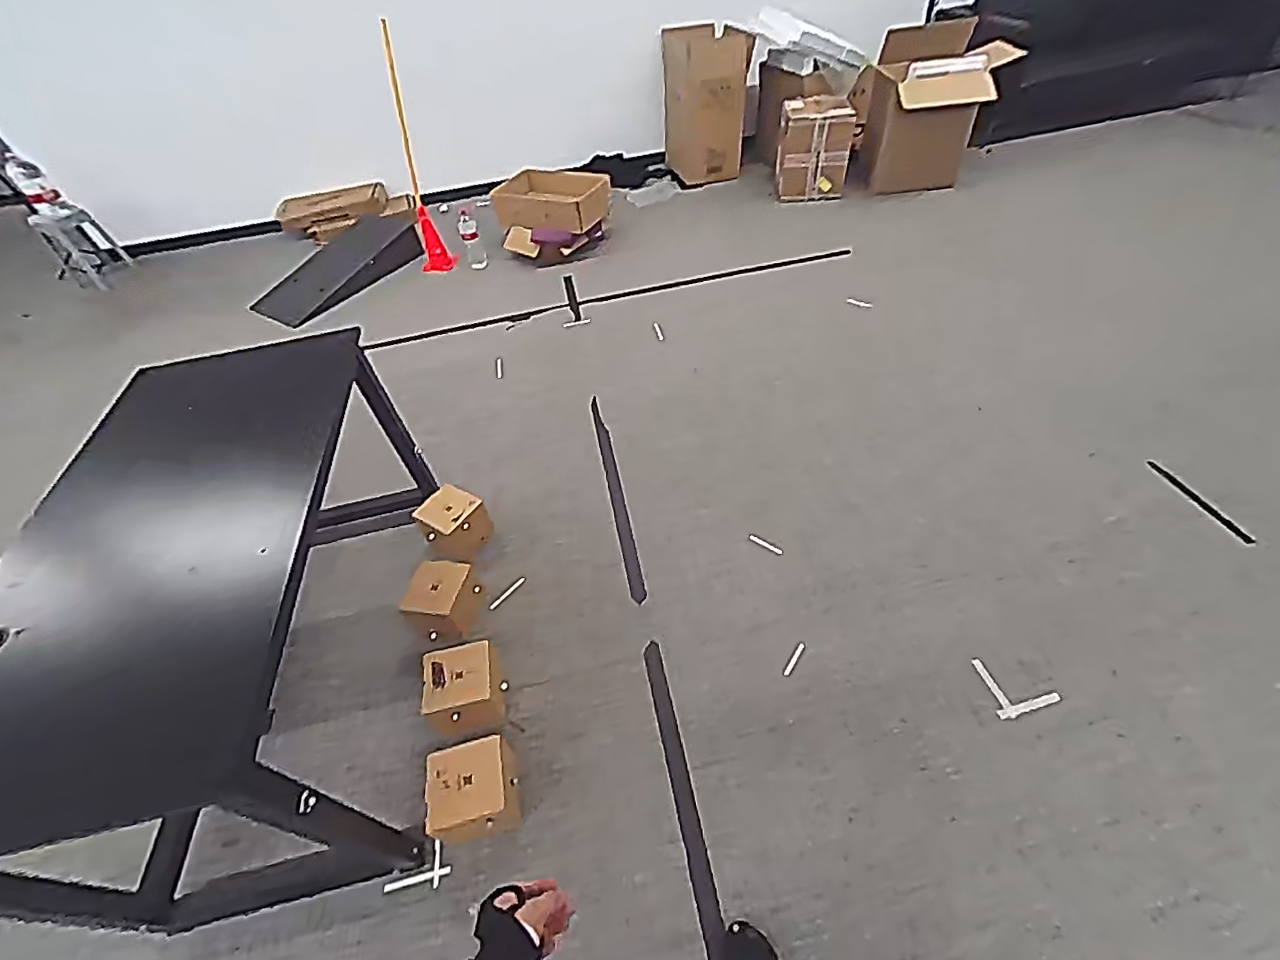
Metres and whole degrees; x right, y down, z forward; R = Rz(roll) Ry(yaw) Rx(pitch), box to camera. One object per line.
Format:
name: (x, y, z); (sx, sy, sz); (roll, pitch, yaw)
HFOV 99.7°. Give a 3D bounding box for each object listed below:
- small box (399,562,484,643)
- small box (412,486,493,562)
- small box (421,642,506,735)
small box: (-0.599, 0.376, 1.662); (0.168, 0.176, 0.179); (3, 49, 10)
small box: (-0.640, 0.155, 1.865); (0.179, 0.176, 0.168); (21, 54, 24)
small box: (-0.474, 0.569, 1.467); (0.179, 0.176, 0.168); (-12, 48, -6)
